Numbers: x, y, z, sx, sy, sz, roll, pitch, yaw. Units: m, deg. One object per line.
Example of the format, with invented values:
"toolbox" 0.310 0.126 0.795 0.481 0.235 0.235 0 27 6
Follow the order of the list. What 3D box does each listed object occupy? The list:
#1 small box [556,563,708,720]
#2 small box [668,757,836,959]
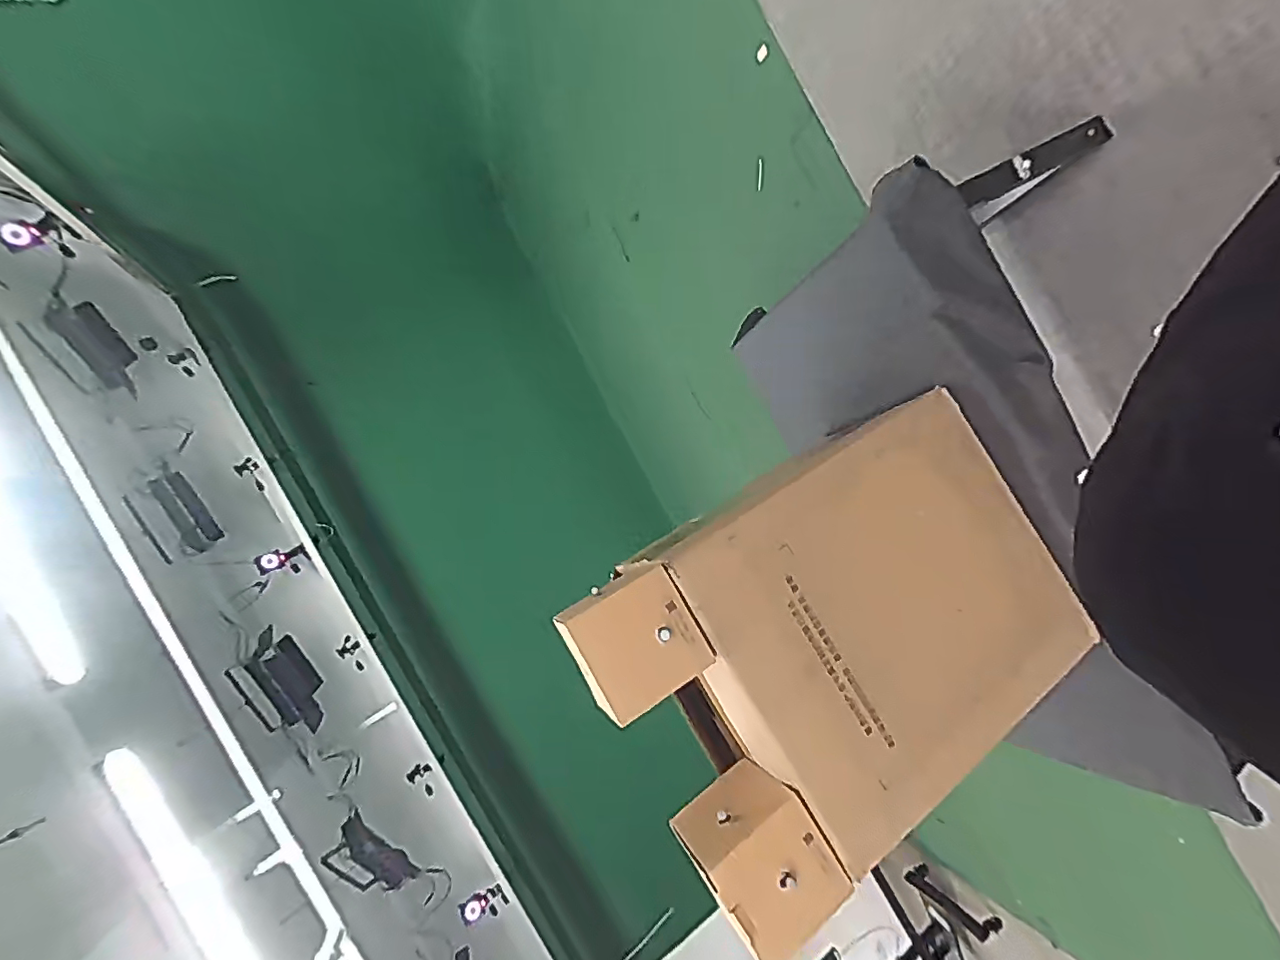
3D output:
"small box" -0.016 0.246 0.864 0.168 0.176 0.179 61 162 3
"small box" 0.177 0.573 0.848 0.168 0.176 0.179 59 162 2
